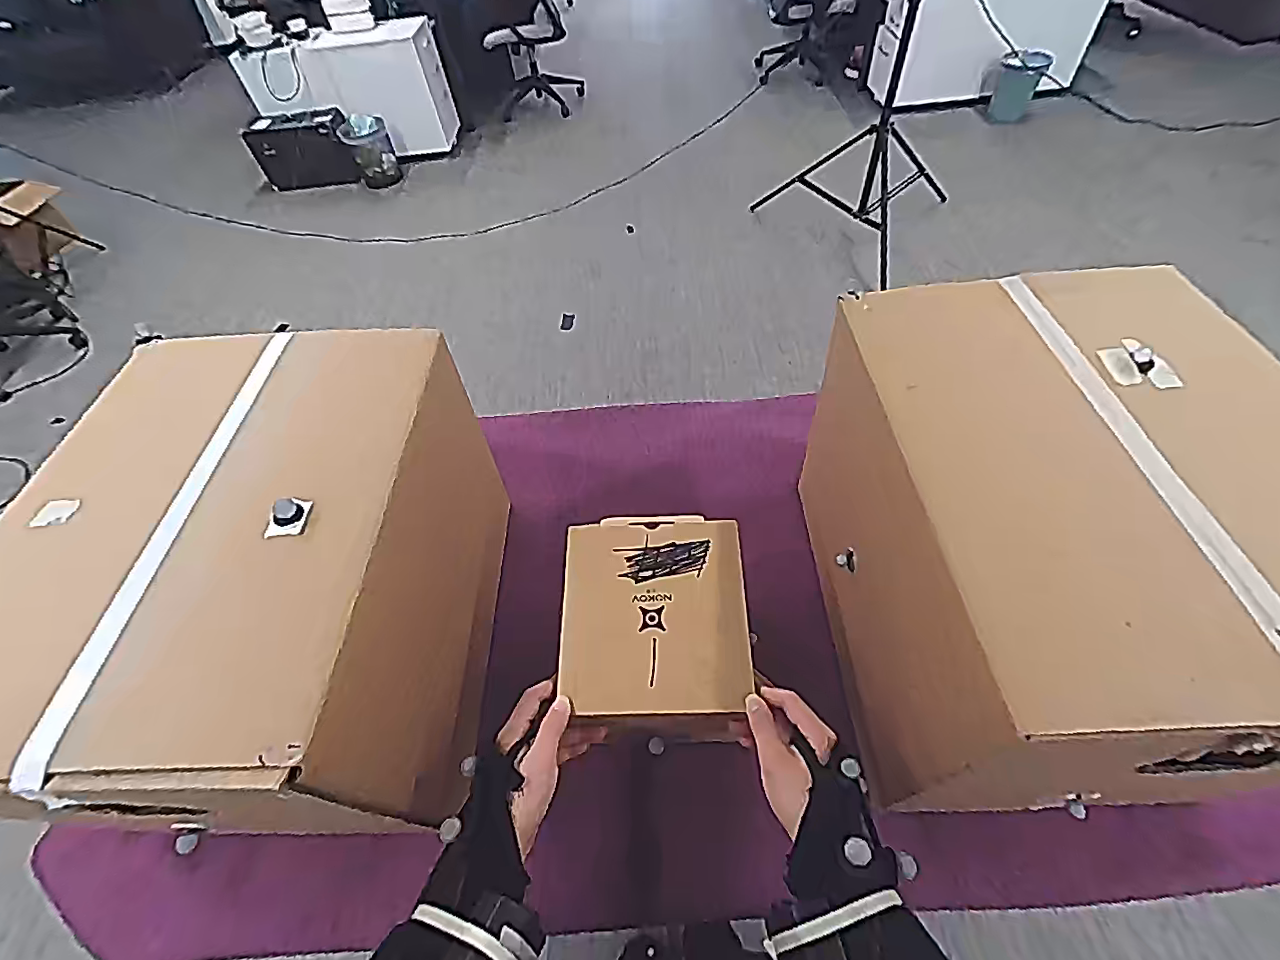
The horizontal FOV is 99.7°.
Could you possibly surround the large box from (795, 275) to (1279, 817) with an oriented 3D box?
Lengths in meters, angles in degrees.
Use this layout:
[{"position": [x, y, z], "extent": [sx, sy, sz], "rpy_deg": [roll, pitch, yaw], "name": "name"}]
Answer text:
[{"position": [0.358, 0.064, 0.520], "extent": [0.320, 0.320, 0.408], "rpy_deg": [-4, 51, 3], "name": "large box"}]
